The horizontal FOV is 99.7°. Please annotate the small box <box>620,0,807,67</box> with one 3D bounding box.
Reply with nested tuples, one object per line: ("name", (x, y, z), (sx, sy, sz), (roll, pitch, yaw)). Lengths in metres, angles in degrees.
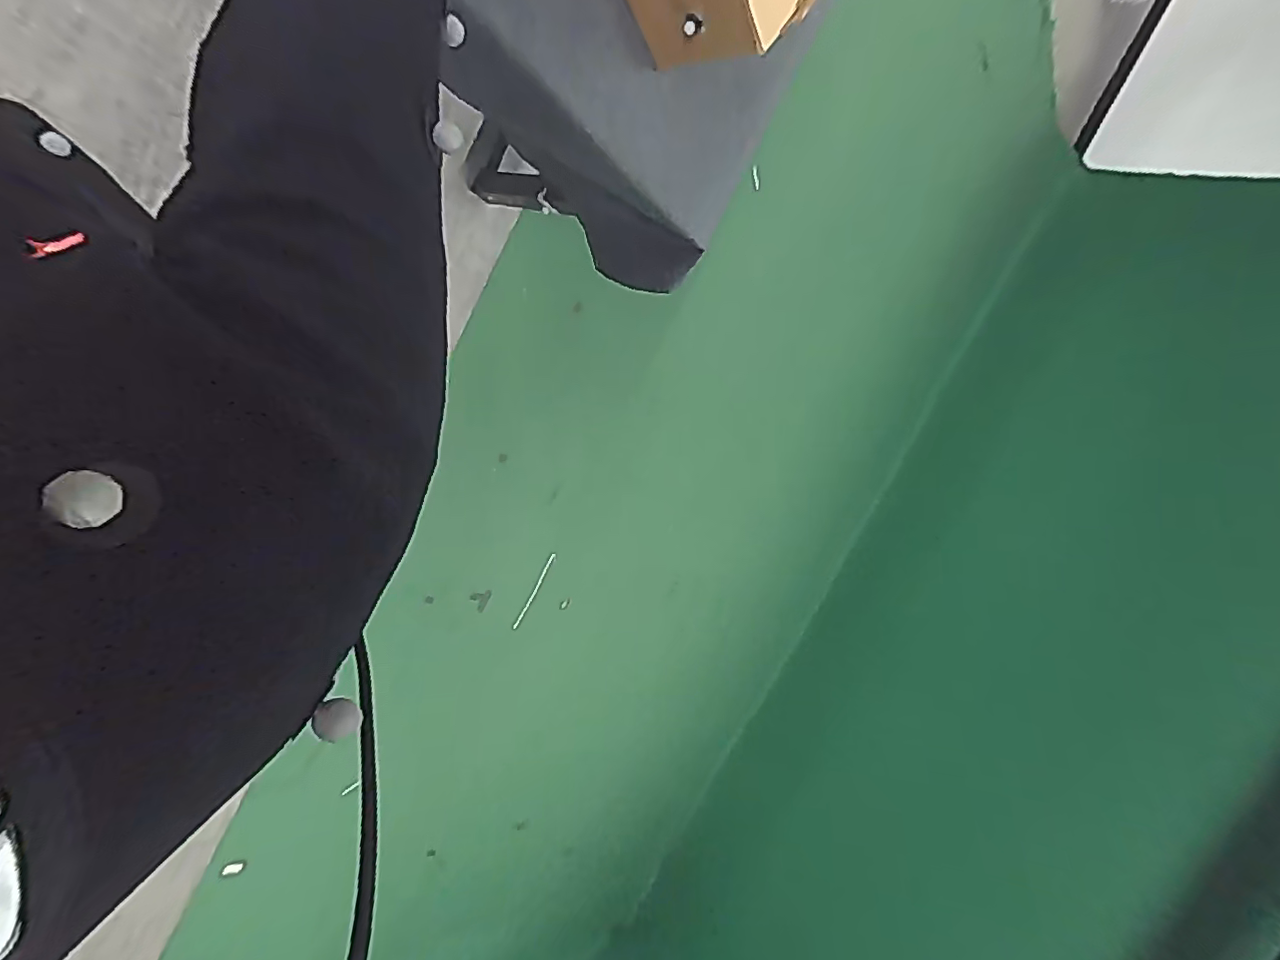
("small box", (0.076, -0.571, 0.564), (0.168, 0.176, 0.179), (-53, 138, -7))
